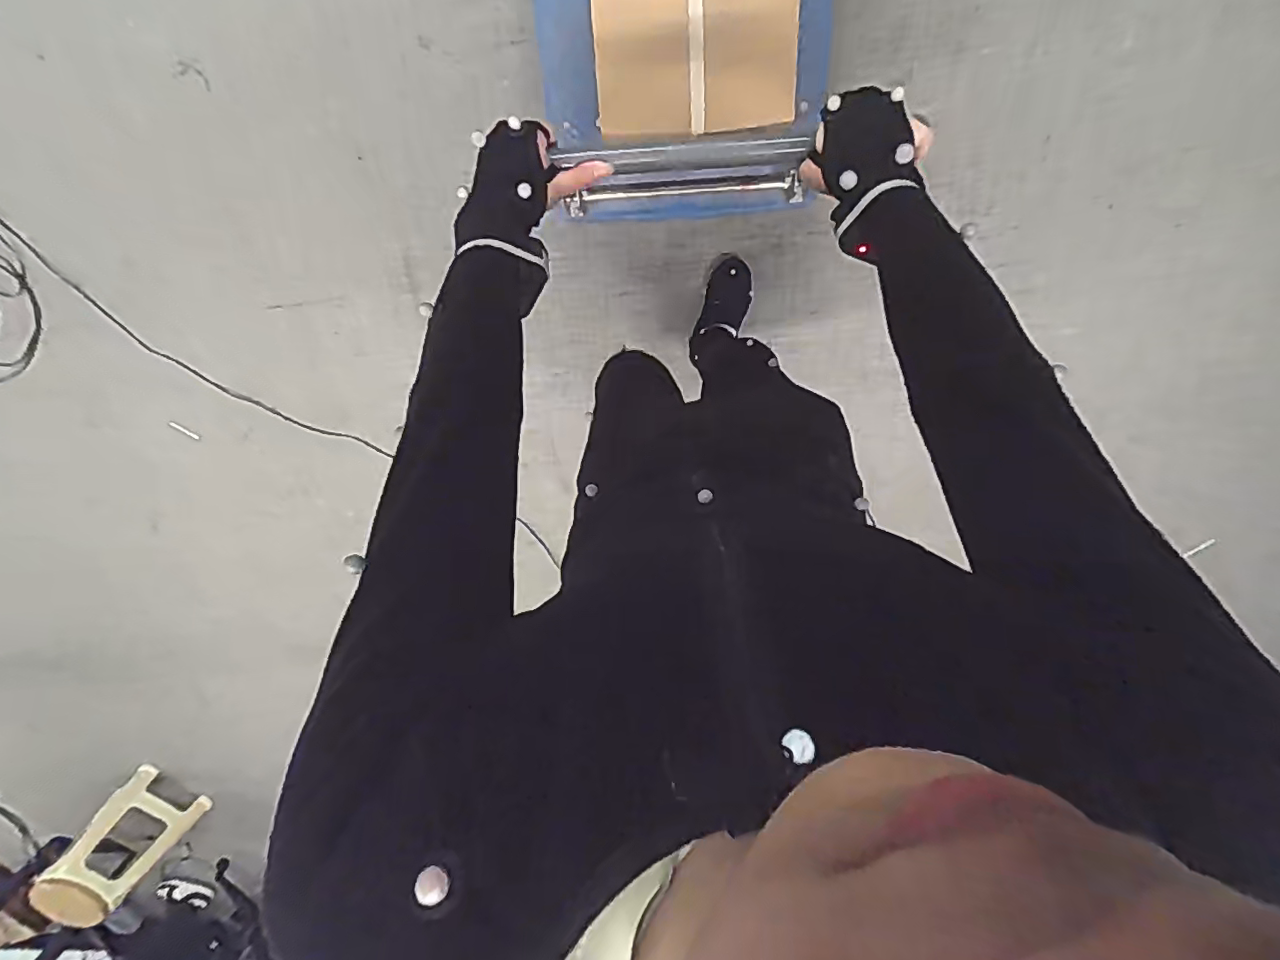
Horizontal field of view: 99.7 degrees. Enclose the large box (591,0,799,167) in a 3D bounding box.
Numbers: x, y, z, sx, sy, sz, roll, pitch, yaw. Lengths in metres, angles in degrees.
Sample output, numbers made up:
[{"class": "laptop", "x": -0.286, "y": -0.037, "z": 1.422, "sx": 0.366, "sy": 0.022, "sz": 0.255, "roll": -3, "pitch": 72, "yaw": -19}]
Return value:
[{"class": "large box", "x": 0.091, "y": -0.804, "z": 0.937, "sx": 0.320, "sy": 0.320, "sz": 0.408, "roll": -2, "pitch": 114, "yaw": 5}]
